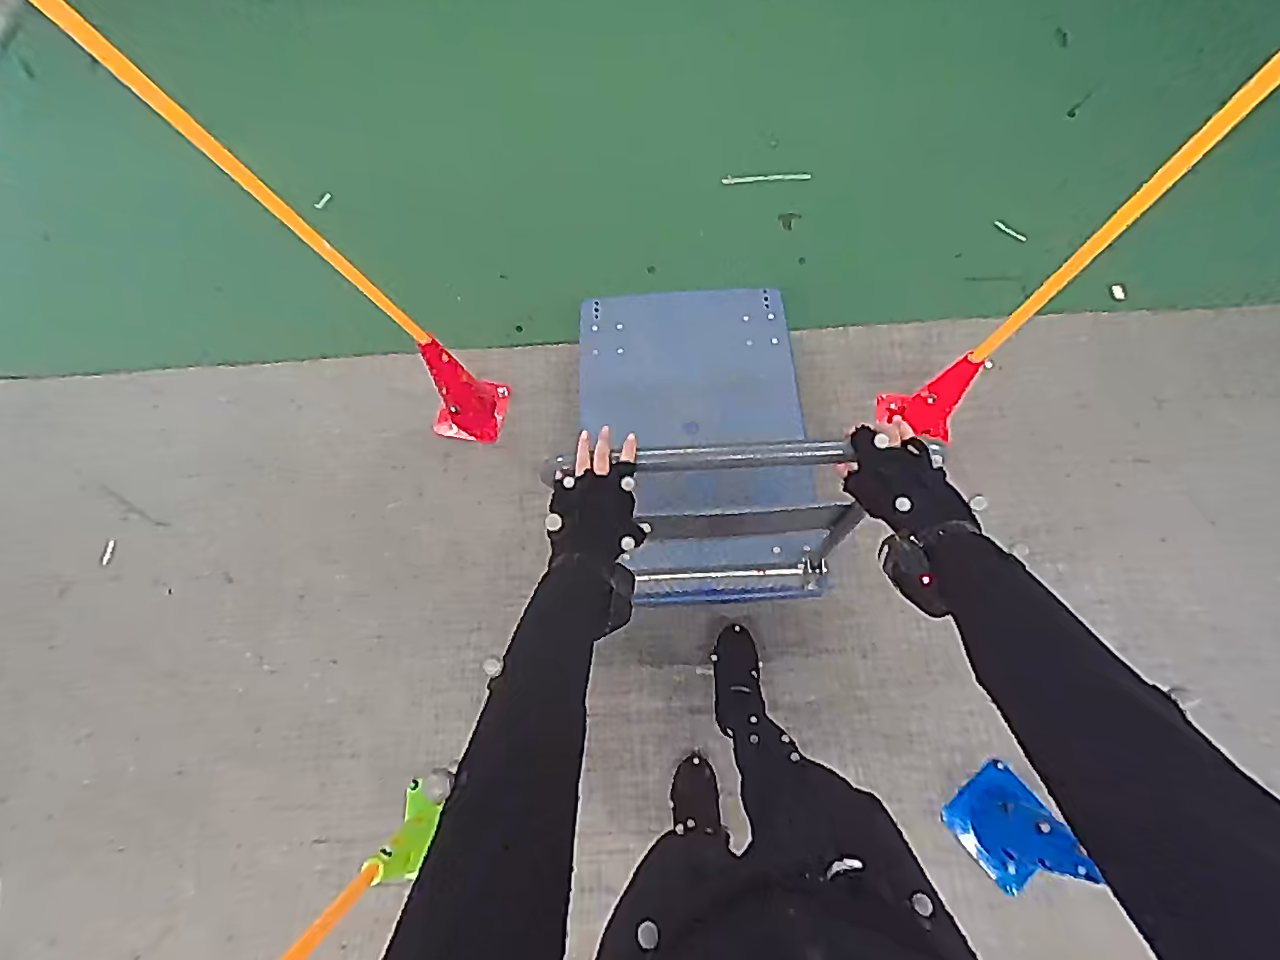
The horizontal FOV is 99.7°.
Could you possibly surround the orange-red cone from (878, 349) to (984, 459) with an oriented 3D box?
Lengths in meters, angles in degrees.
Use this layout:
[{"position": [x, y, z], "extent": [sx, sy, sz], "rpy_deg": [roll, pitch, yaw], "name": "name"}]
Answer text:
[{"position": [0.769, -0.217, 1.379], "extent": [0.198, 0.360, 0.199], "rpy_deg": [7, 70, 7], "name": "orange-red cone"}]
